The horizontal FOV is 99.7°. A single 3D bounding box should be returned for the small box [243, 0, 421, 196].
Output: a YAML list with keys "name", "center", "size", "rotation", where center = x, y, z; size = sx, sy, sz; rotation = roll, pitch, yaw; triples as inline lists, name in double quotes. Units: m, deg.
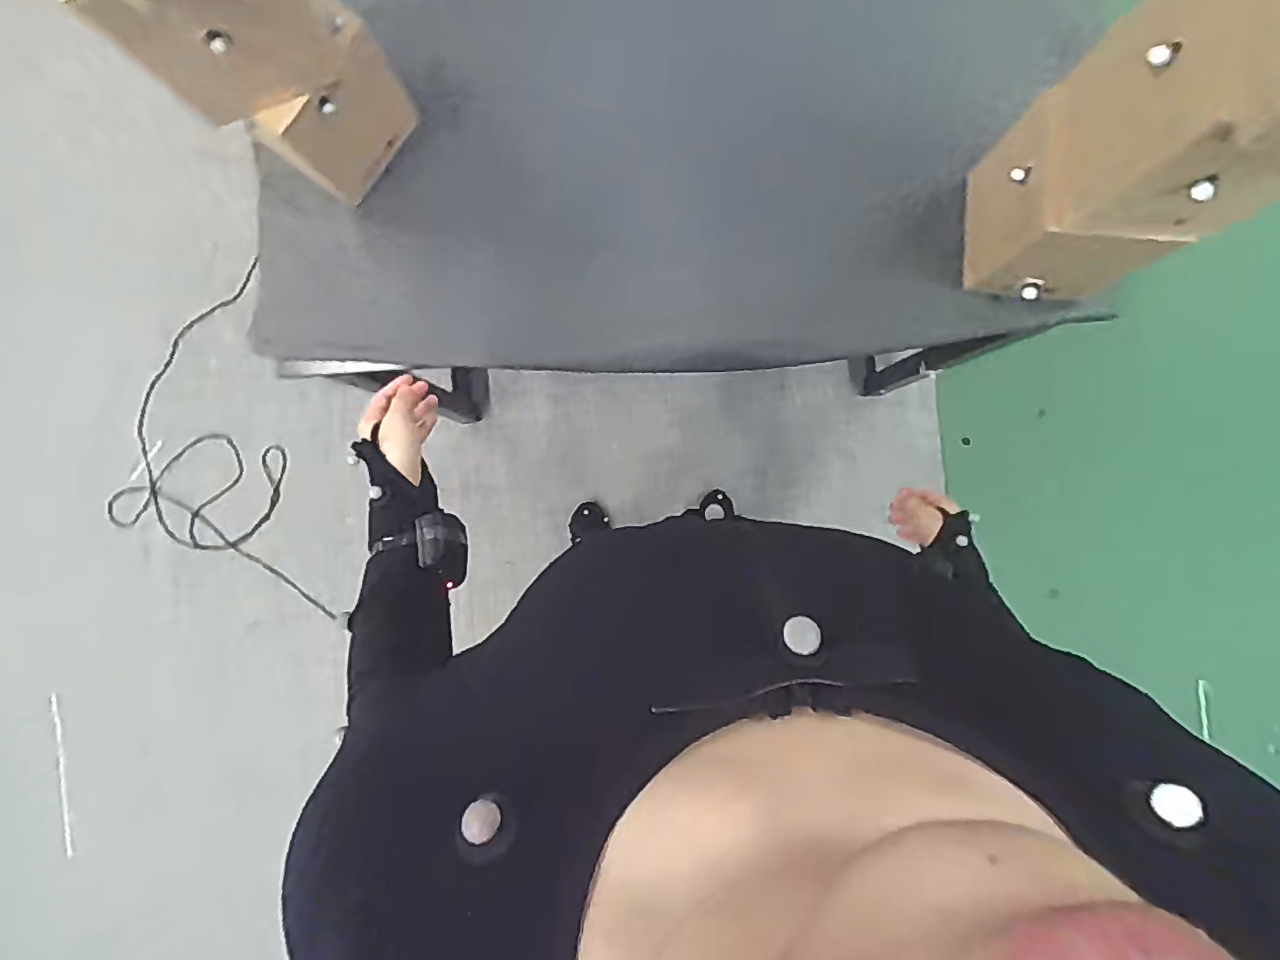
- name: "small box"
  center: [-0.425, -0.511, 0.695]
  size: [0.179, 0.176, 0.168]
  rotation: [37, 90, 1]

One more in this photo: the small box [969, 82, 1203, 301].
- name: "small box"
  center: [0.541, -0.346, 0.676]
  size: [0.168, 0.176, 0.179]
  rotation: [5, 87, 3]

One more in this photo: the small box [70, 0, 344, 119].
- name: "small box"
  center: [-0.426, -0.508, 0.530]
  size: [0.179, 0.176, 0.168]
  rotation: [-22, 90, 1]

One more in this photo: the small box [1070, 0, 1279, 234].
- name: "small box"
  center: [0.552, -0.358, 0.514]
  size: [0.168, 0.176, 0.179]
  rotation: [3, 85, 2]
